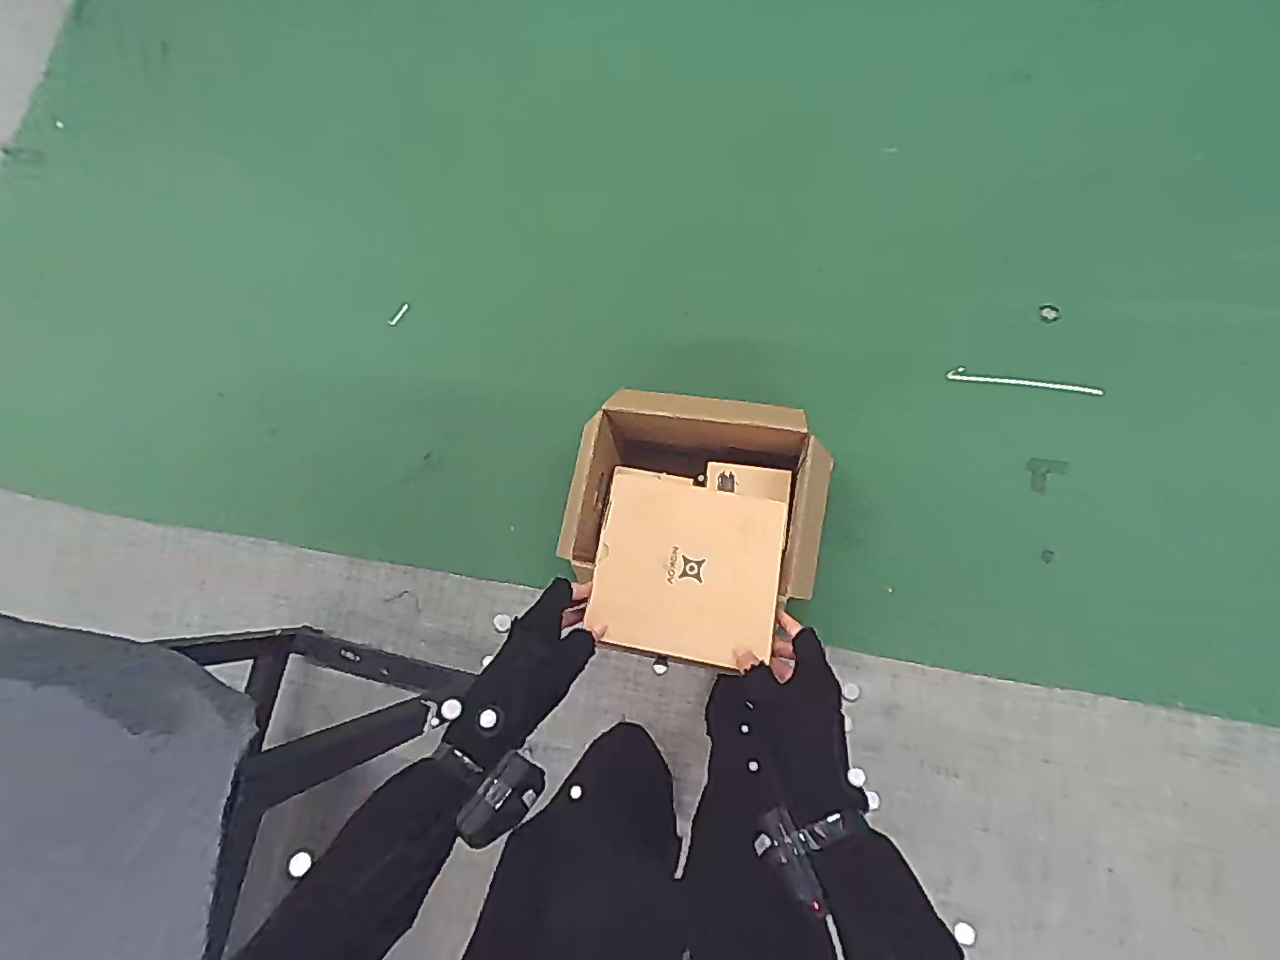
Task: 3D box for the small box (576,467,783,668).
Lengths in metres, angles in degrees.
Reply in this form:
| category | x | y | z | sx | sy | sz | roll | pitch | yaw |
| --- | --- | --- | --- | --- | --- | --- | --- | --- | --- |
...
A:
| category | x | y | z | sx | sy | sz | roll | pitch | yaw |
| --- | --- | --- | --- | --- | --- | --- | --- | --- | --- |
| small box | 0.042 | 0.101 | 0.591 | 0.179 | 0.176 | 0.168 | 10 | 72 | 5 |
